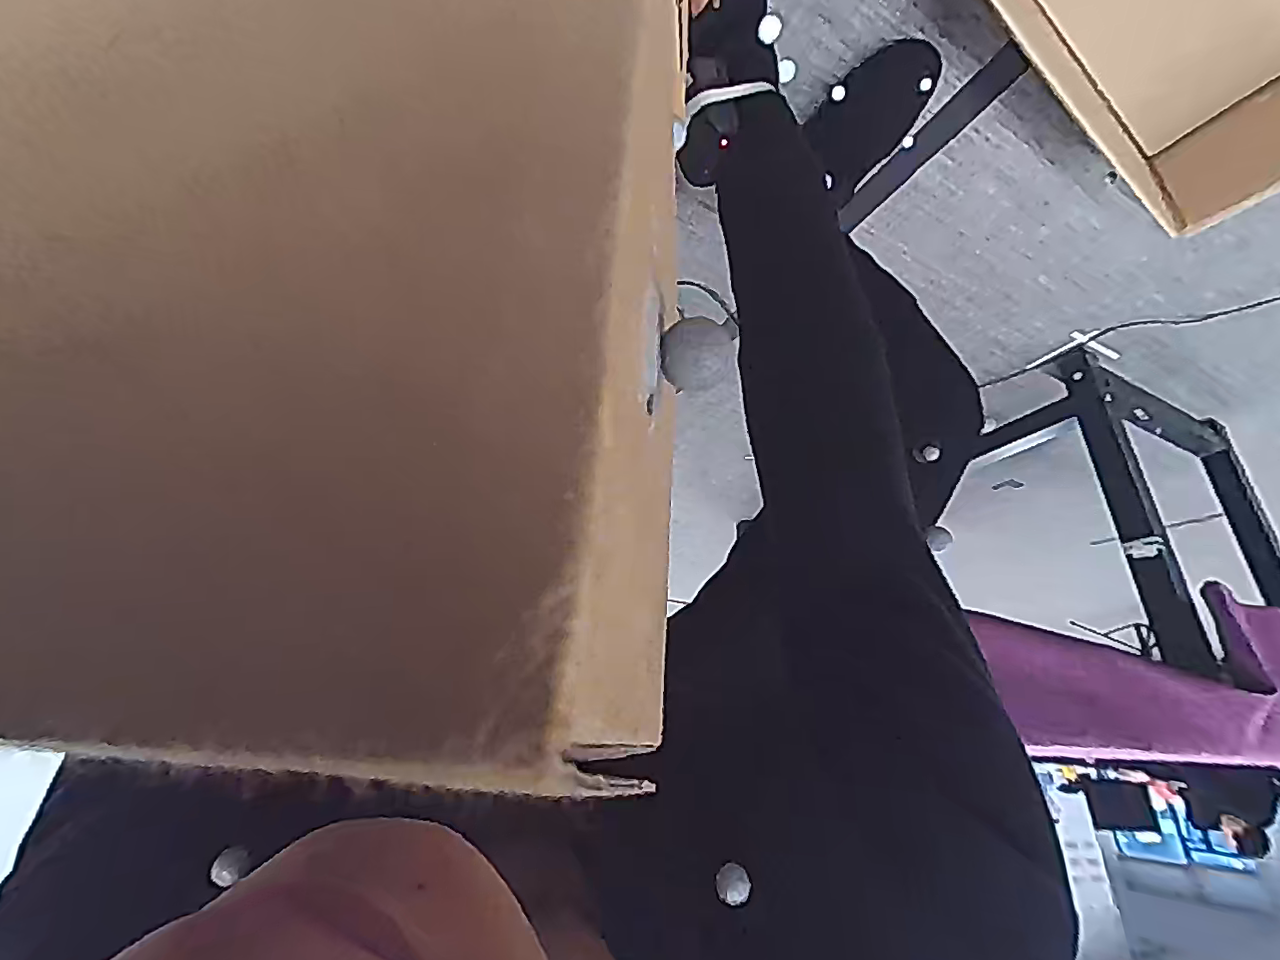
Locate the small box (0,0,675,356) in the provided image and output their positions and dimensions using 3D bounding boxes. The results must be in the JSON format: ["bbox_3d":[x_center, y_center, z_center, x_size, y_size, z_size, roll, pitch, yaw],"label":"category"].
[{"bbox_3d":[-0.074,-0.170,0.212,0.168,0.176,0.179,0,153,8],"label":"small box"}]
